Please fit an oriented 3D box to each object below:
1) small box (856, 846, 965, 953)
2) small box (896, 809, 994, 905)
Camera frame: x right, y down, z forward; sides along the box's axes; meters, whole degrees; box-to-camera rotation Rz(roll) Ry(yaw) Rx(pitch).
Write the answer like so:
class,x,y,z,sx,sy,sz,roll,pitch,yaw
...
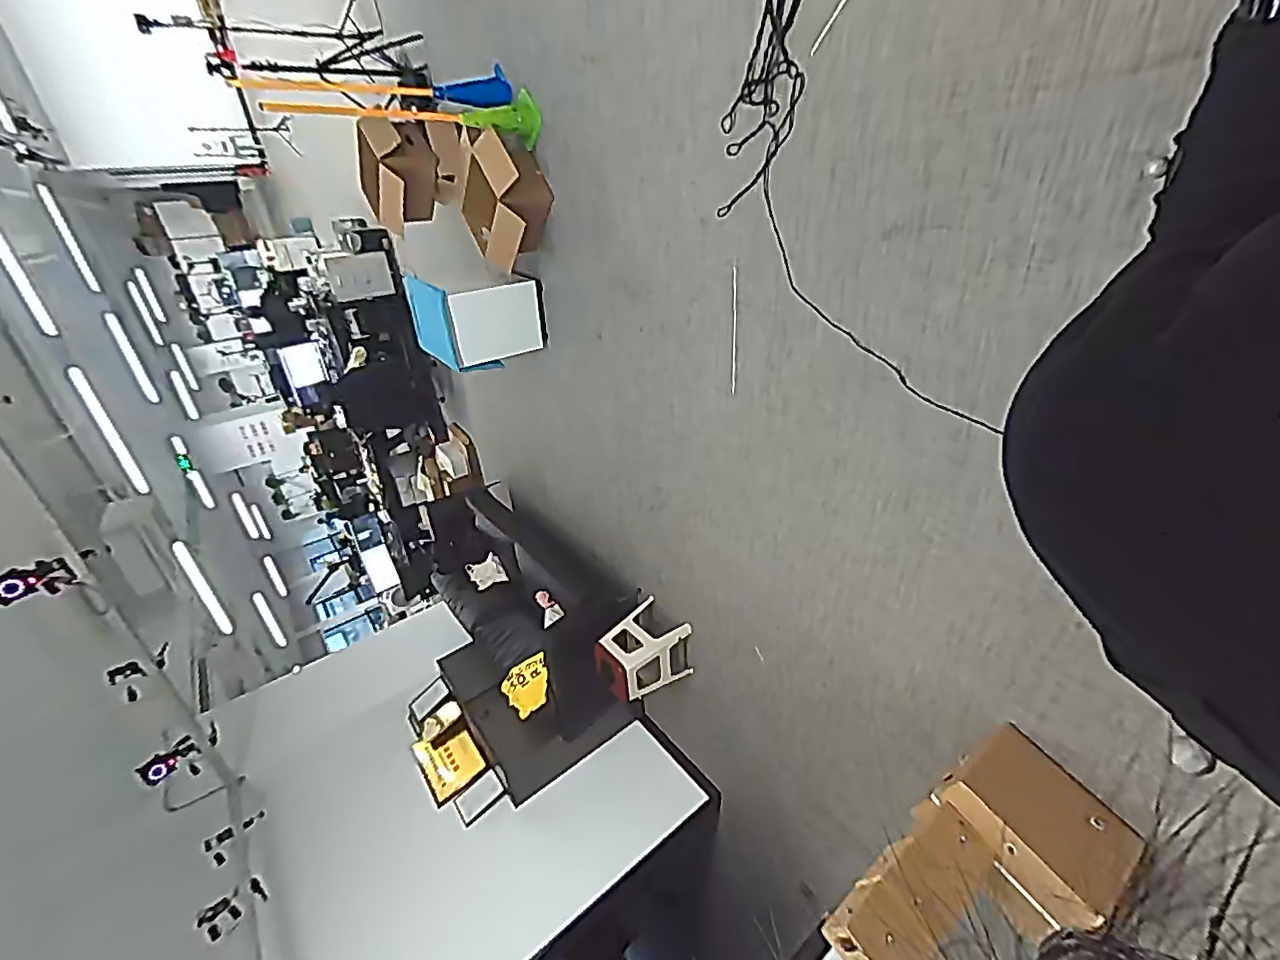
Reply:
class,x,y,z,sx,sy,sz,roll,pitch,yaw
small box,0.751,1.158,1.505,0.179,0.176,0.168,47,145,30
small box,0.885,1.107,1.580,0.168,0.176,0.179,46,145,31
